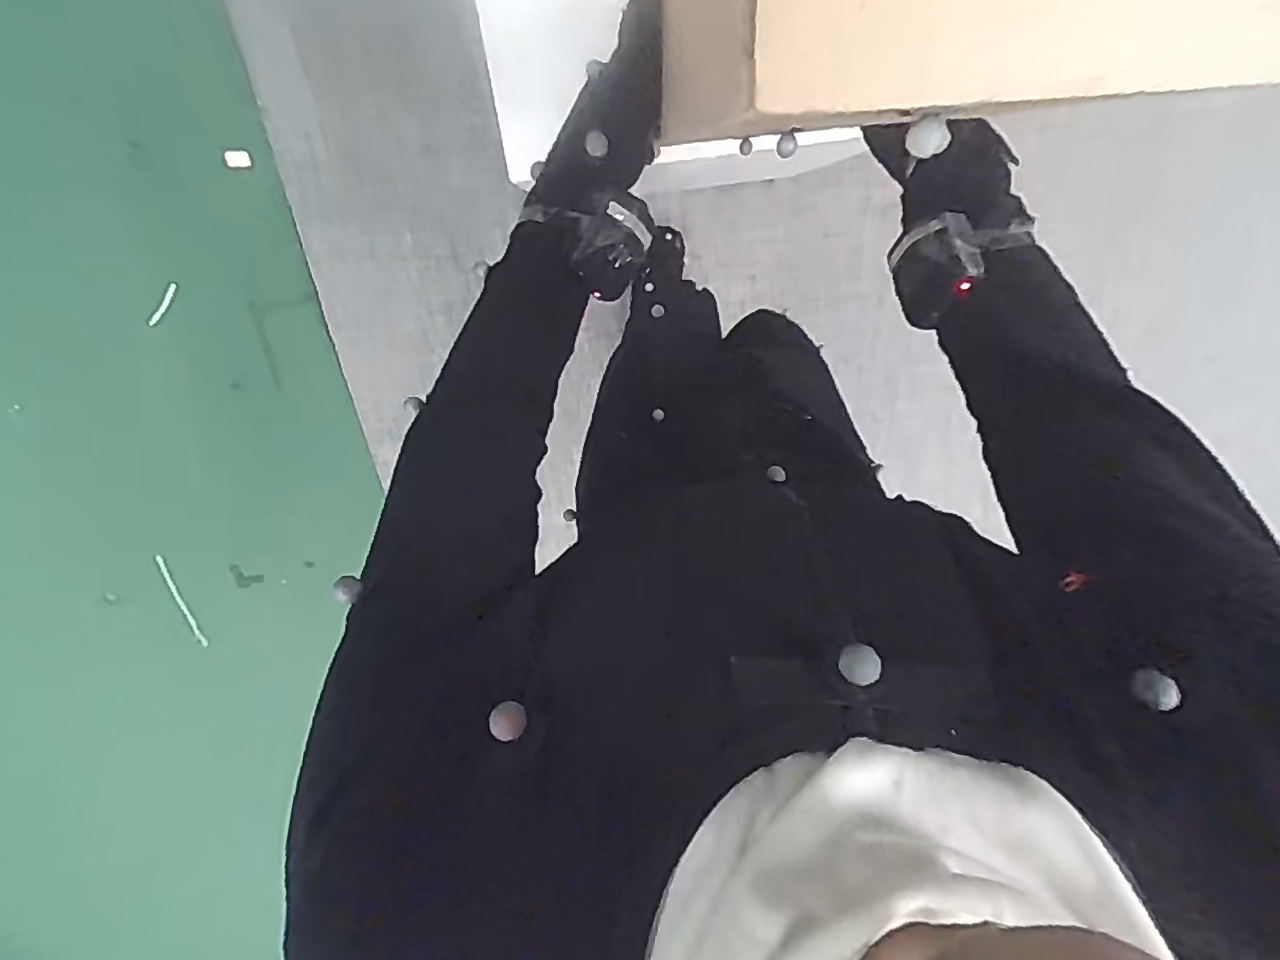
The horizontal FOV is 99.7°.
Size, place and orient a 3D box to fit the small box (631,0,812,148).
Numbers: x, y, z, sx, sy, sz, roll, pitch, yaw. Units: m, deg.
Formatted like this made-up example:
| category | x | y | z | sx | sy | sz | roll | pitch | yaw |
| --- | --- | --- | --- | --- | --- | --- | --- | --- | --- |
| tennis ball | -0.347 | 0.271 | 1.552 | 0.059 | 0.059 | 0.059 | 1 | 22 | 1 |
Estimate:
| category | x | y | z | sx | sy | sz | roll | pitch | yaw |
| --- | --- | --- | --- | --- | --- | --- | --- | --- | --- |
| small box | 0.083 | -0.393 | 0.469 | 0.179 | 0.176 | 0.168 | -7 | 120 | 0 |

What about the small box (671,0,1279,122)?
| category | x | y | z | sx | sy | sz | roll | pitch | yaw |
| --- | --- | --- | --- | --- | --- | --- | --- | --- | --- |
| small box | 0.102 | -0.229 | 0.185 | 0.179 | 0.176 | 0.168 | -4 | 121 | -1 |

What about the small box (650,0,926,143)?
| category | x | y | z | sx | sy | sz | roll | pitch | yaw |
| --- | --- | --- | --- | --- | --- | --- | --- | --- | --- |
| small box | 0.093 | -0.317 | 0.328 | 0.168 | 0.176 | 0.179 | -8 | 122 | 0 |
